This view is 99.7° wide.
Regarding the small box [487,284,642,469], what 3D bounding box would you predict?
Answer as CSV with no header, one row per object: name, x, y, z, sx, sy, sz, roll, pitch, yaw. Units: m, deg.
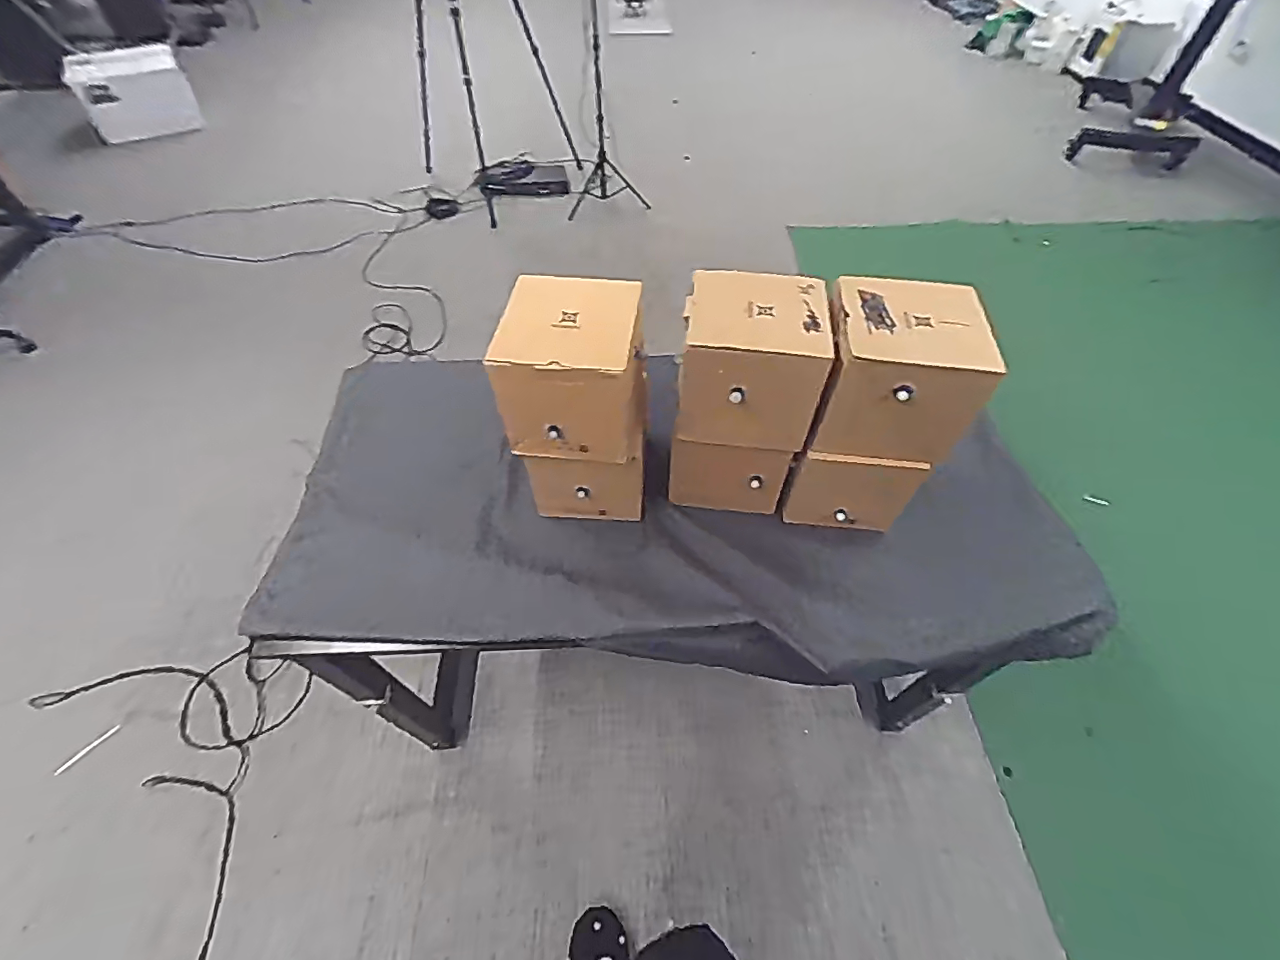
small box,-0.089,-0.139,0.736,0.168,0.176,0.179,5,54,4
